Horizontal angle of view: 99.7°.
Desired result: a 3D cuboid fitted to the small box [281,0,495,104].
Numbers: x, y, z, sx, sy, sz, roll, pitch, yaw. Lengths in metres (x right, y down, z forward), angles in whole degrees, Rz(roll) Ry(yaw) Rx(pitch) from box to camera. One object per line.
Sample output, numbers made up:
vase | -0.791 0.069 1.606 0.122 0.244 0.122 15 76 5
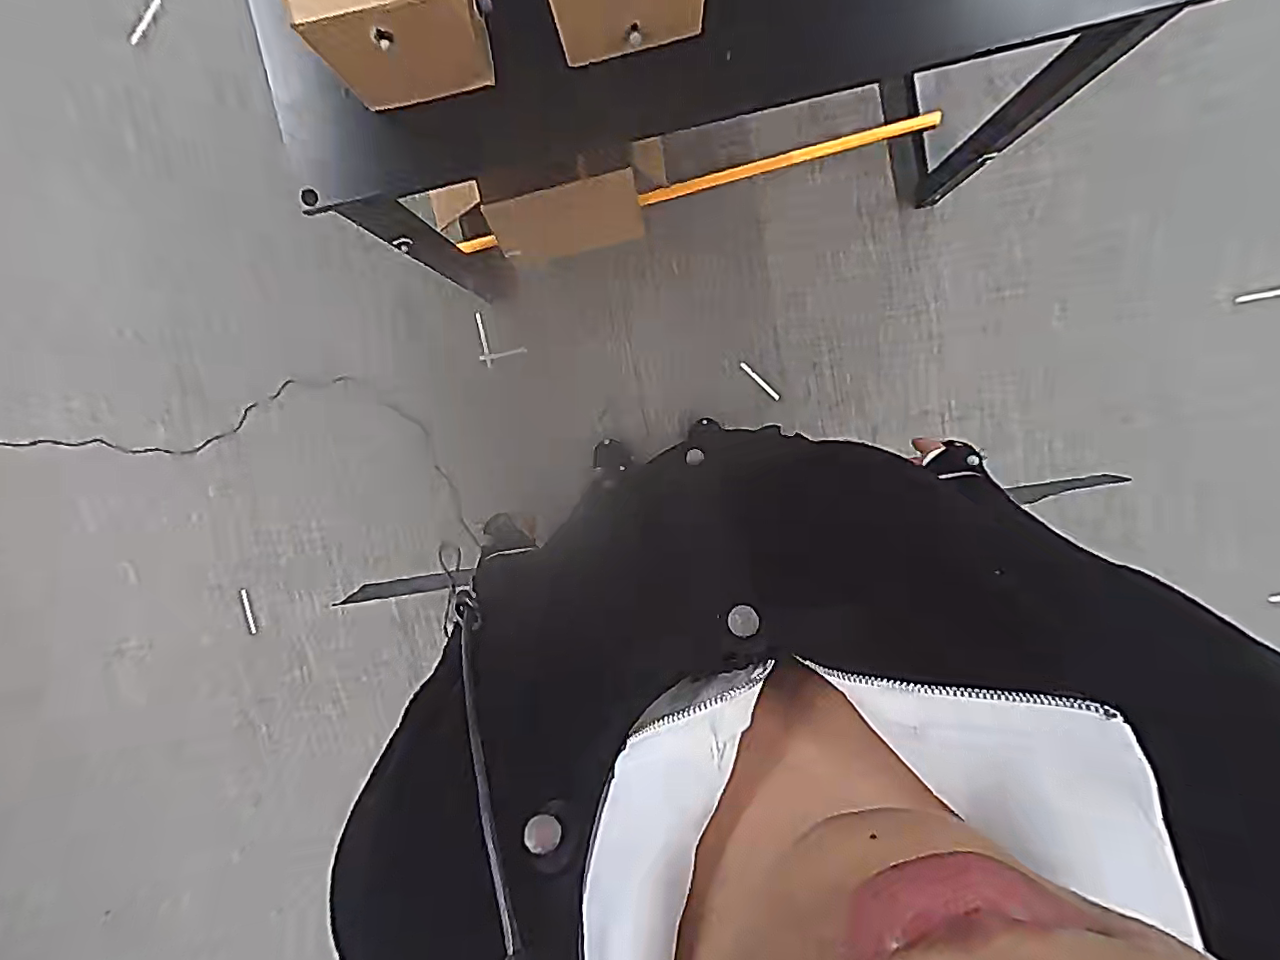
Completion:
small box | -0.287 -0.569 0.615 0.179 0.176 0.168 -10 98 3

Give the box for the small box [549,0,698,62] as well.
small box | -0.028 -0.615 0.597 0.179 0.176 0.168 -12 96 4
